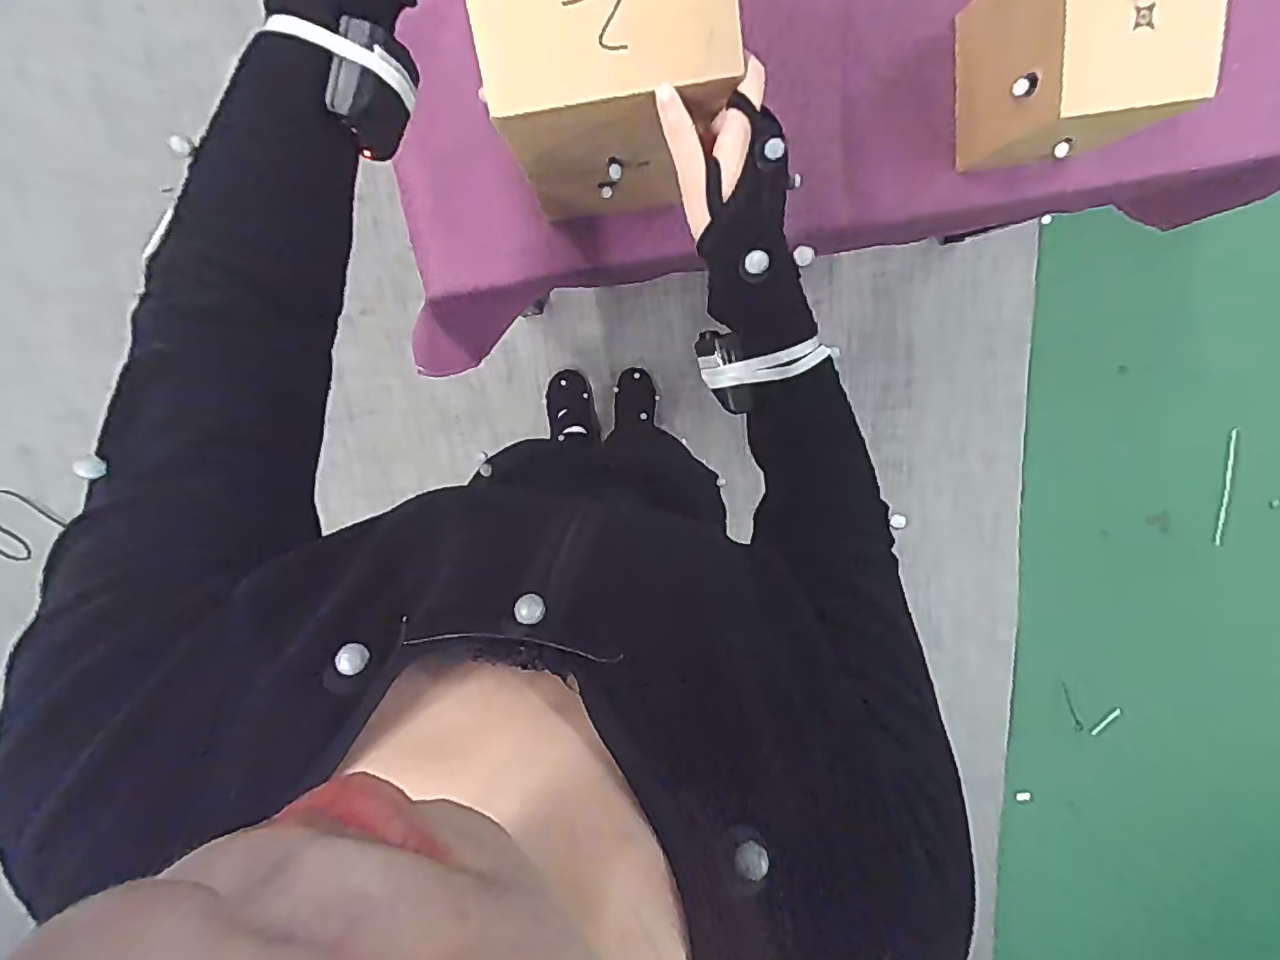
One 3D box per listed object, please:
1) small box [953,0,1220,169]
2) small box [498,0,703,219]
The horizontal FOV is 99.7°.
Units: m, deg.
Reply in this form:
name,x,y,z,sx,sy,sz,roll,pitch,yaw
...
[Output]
name,x,y,z,sx,sy,sz,roll,pitch,yaw
small box,0.479,-0.469,0.605,0.168,0.176,0.179,-8,104,-2
small box,-0.039,-0.396,0.586,0.179,0.176,0.168,-9,104,-3
